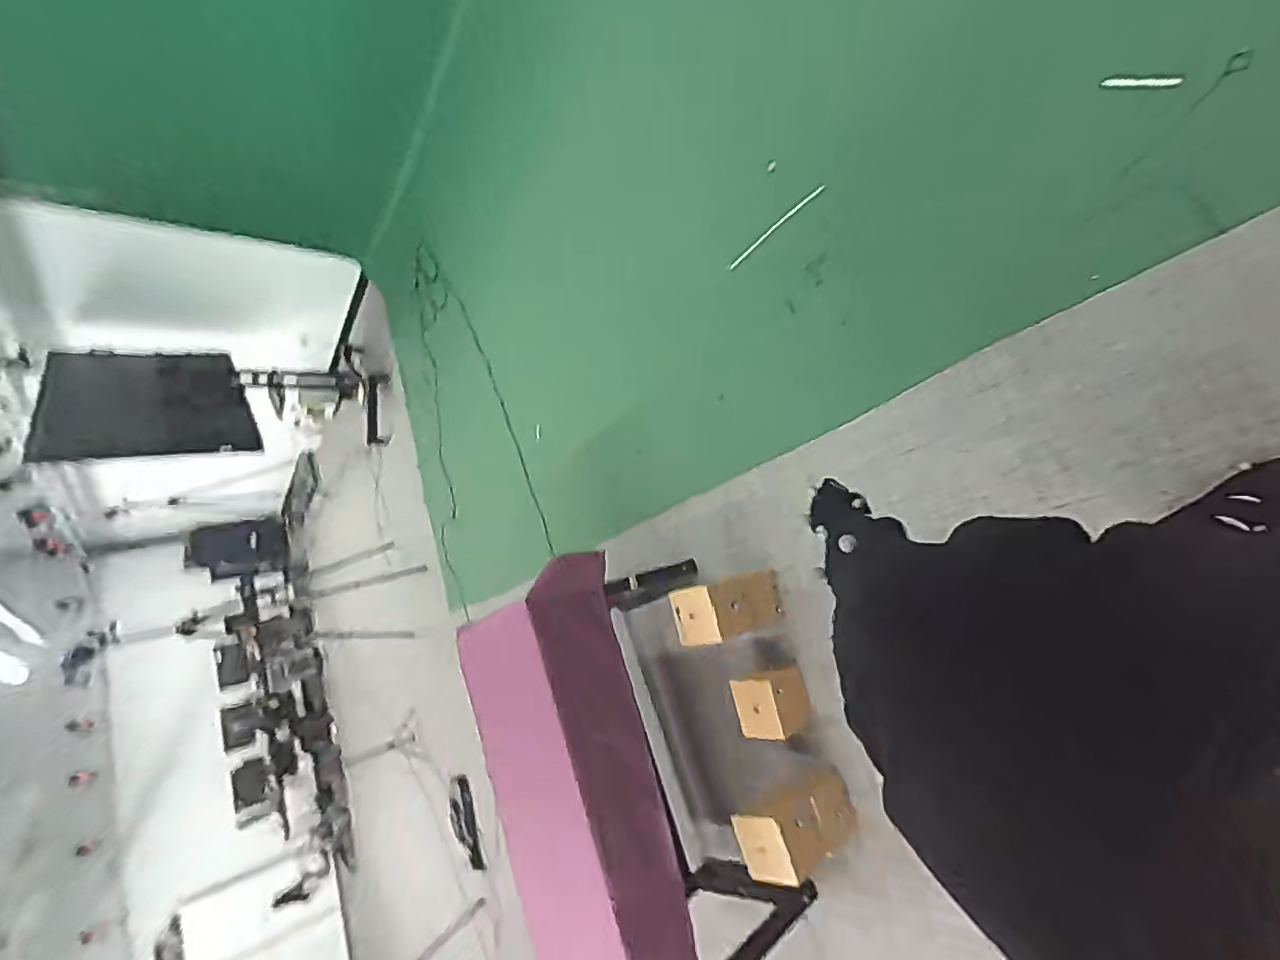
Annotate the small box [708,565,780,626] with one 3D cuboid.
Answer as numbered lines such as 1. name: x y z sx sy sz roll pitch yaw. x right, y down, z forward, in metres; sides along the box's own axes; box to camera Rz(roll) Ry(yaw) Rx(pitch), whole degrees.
1. small box: 0.347 0.383 1.800 0.179 0.176 0.168 -17 81 49

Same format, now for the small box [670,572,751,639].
1. small box: 0.227 0.389 1.687 0.179 0.176 0.168 -23 77 46
